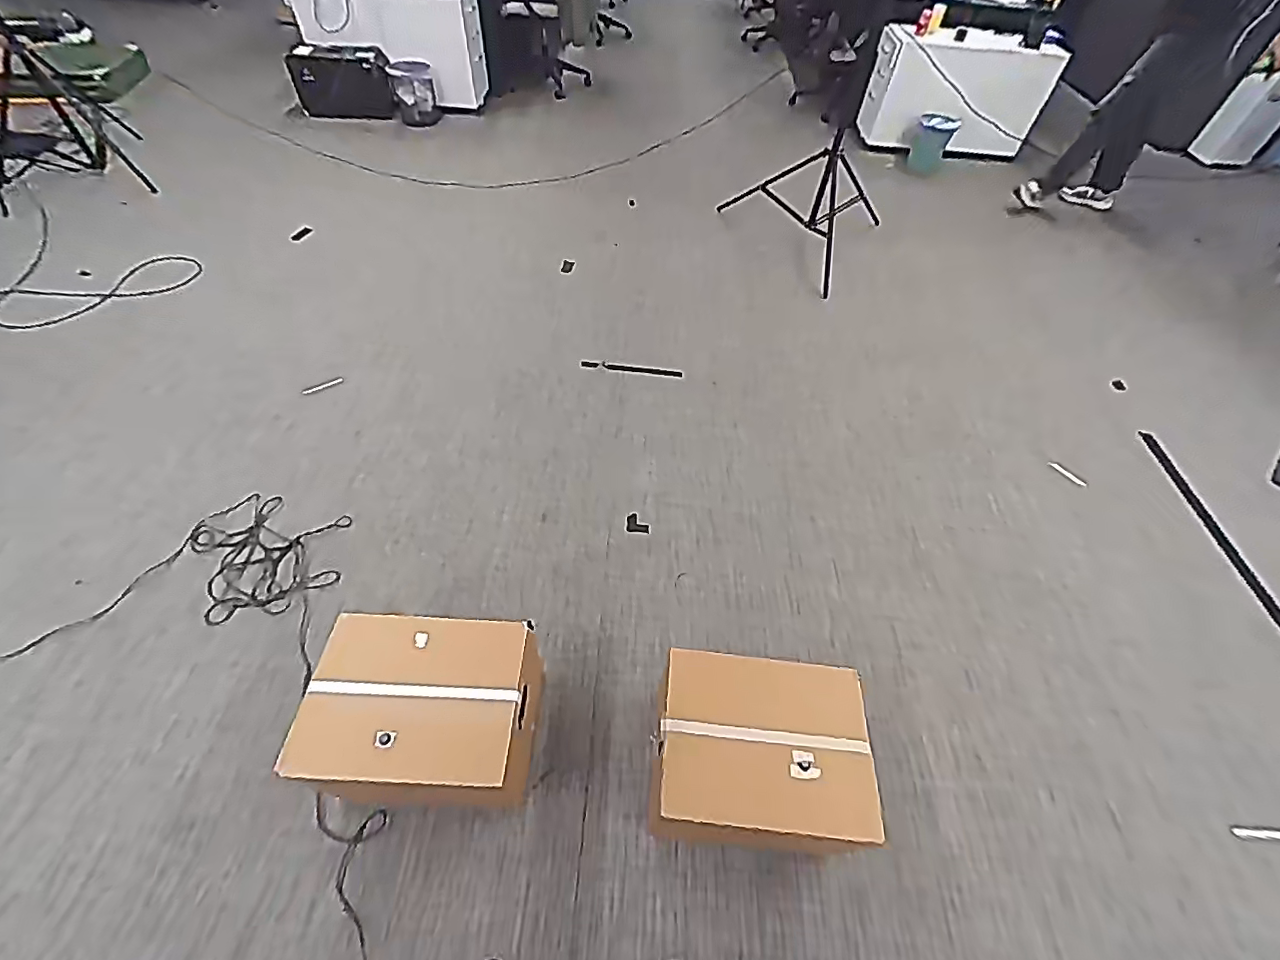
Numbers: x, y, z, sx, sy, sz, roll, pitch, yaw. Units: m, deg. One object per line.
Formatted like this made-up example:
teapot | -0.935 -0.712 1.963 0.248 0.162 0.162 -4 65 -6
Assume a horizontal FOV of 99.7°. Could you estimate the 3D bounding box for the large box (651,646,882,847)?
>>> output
large box | 0.242 0.587 1.181 0.408 0.320 0.320 7 52 0
